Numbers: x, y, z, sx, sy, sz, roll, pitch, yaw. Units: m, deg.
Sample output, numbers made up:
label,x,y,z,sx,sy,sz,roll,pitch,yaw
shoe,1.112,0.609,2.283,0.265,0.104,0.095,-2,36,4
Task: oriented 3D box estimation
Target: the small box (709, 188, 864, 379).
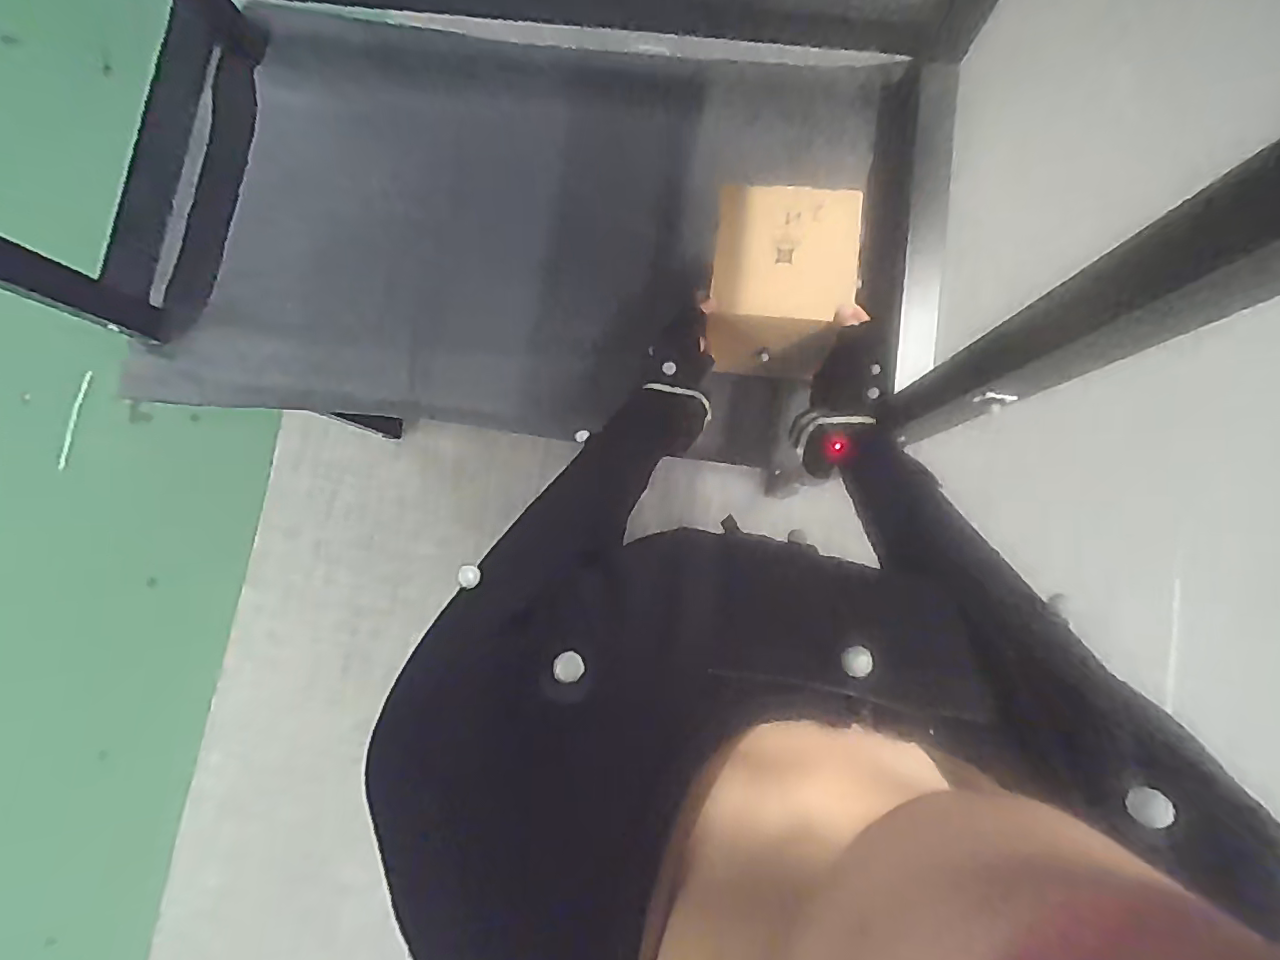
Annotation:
label,x,y,z,sx,sy,sz,roll,pitch,yaw
small box,0.183,-0.248,0.714,0.168,0.176,0.179,7,78,7
